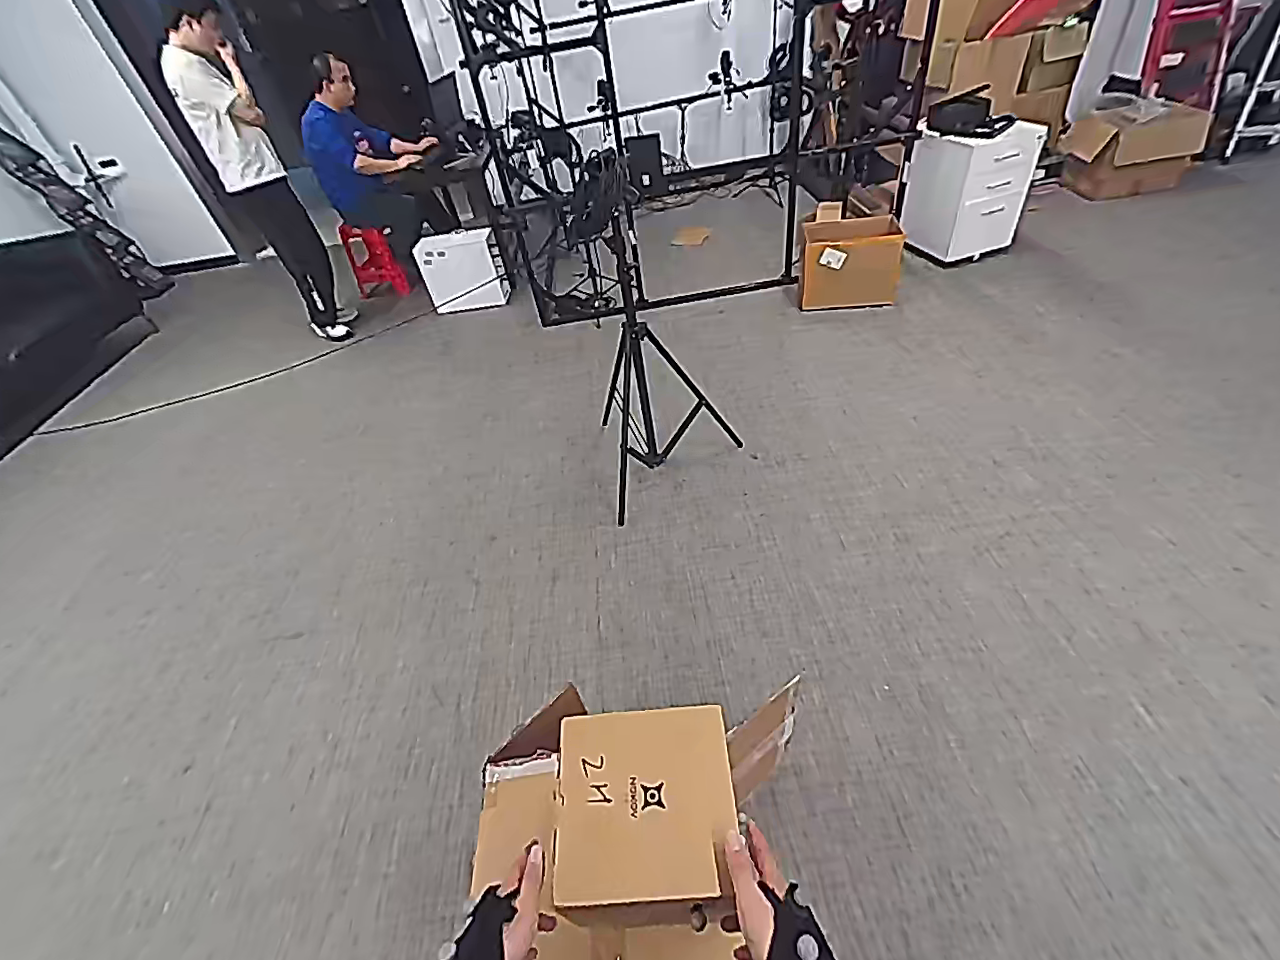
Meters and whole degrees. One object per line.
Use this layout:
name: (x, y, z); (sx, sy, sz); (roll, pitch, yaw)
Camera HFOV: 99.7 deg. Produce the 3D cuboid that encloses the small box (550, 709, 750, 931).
small box: (0.013, 0.363, 0.576); (0.179, 0.176, 0.168); (-6, 44, 2)
